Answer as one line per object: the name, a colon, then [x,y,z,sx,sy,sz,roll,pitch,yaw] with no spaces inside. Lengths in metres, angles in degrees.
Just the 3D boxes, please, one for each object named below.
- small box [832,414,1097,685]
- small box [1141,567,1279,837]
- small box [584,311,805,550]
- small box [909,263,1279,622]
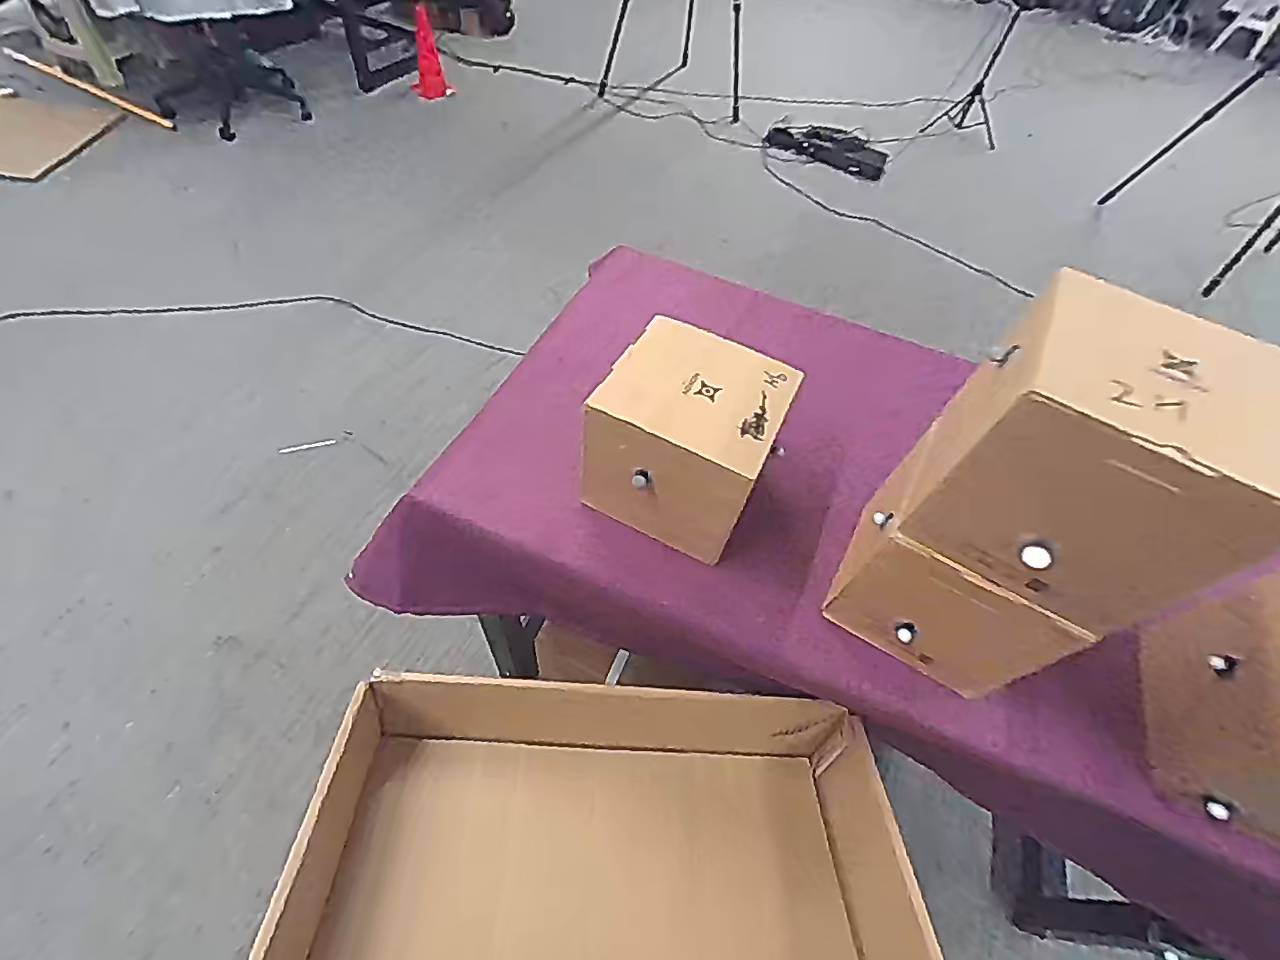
small box: [0.320,0.073,0.547,0.168,0.176,0.179,29,58,14]
small box: [0.601,0.212,0.480,0.168,0.176,0.179,25,55,11]
small box: [0.052,-0.049,0.597,0.179,0.176,0.168,25,57,11]
small box: [0.340,-0.026,0.416,0.168,0.176,0.179,30,58,14]
